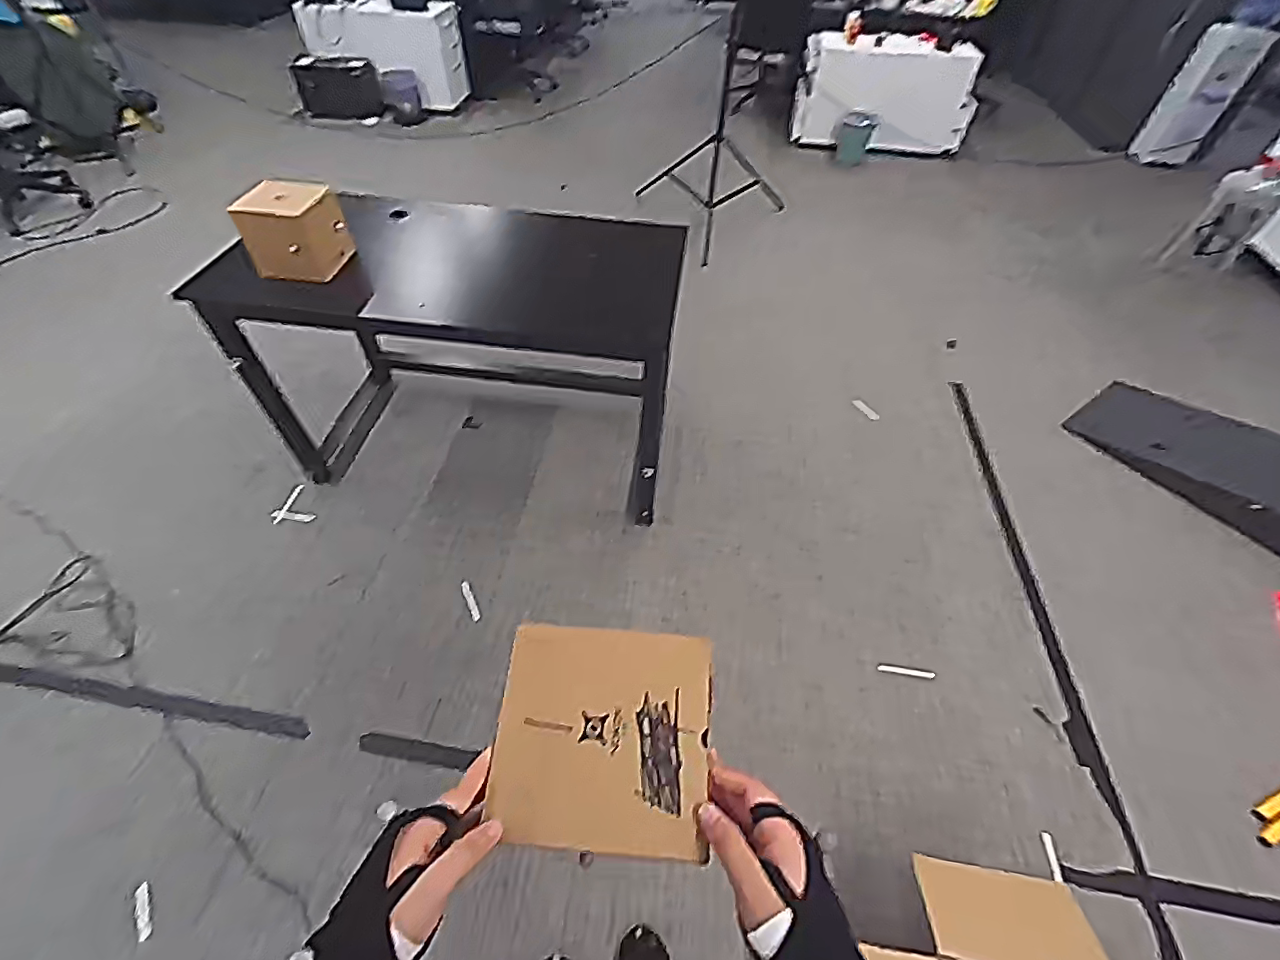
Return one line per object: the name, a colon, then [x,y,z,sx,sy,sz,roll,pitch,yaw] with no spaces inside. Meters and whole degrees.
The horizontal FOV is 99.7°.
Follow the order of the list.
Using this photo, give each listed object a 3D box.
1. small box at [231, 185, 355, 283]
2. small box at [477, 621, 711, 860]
small box: [-0.851,-0.612,1.351,0.179,0.176,0.168,5,50,2]
small box: [-0.030,0.242,0.511,0.179,0.176,0.168,3,60,3]
